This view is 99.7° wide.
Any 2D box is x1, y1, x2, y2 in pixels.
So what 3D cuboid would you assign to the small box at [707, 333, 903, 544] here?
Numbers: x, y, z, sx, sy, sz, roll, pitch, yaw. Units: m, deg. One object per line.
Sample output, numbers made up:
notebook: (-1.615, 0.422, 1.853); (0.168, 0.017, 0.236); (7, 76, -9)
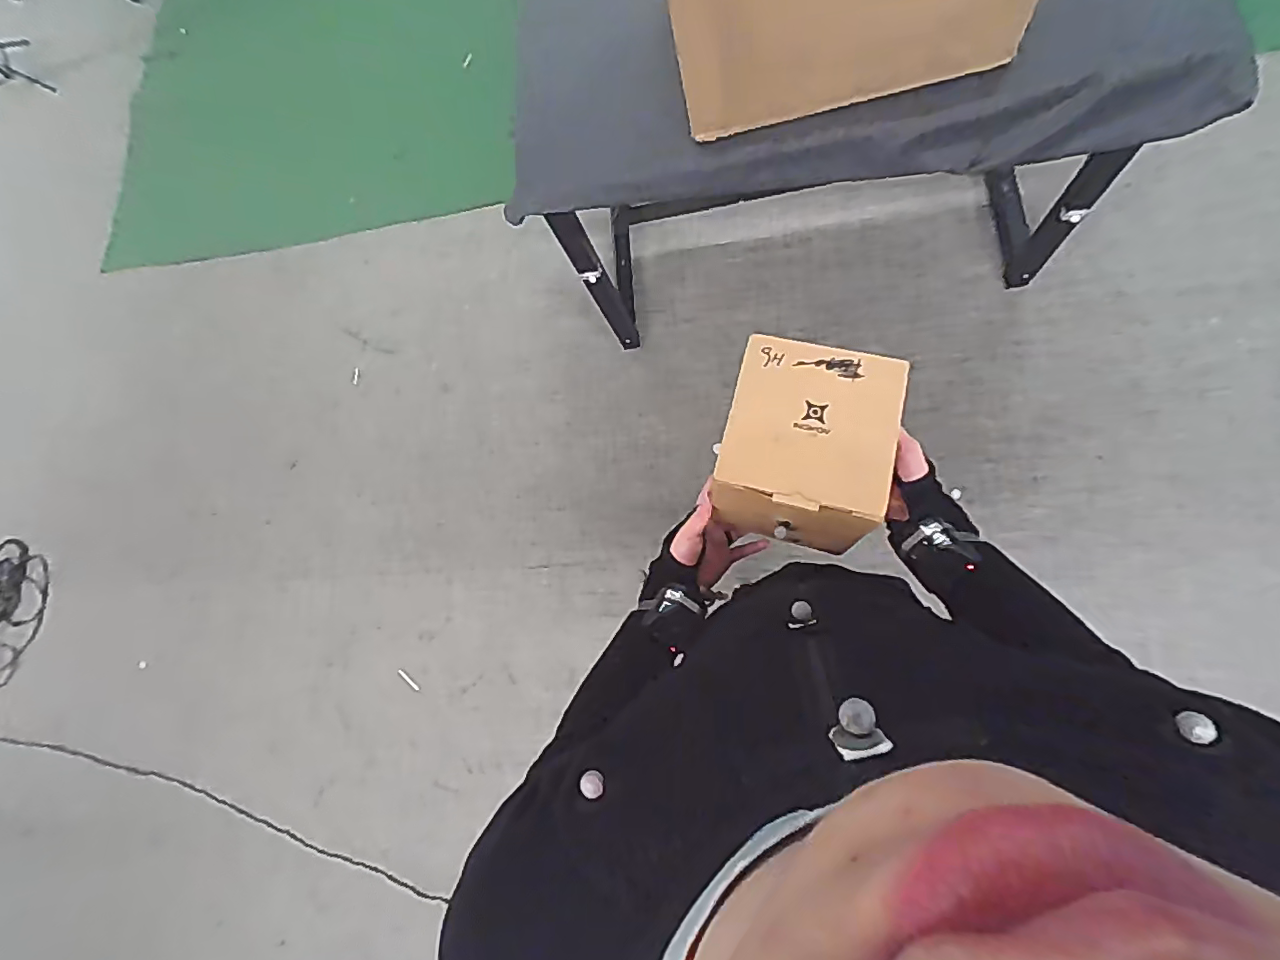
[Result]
small box: (0.178, -0.037, 0.622); (0.168, 0.176, 0.179); (14, 74, 10)
